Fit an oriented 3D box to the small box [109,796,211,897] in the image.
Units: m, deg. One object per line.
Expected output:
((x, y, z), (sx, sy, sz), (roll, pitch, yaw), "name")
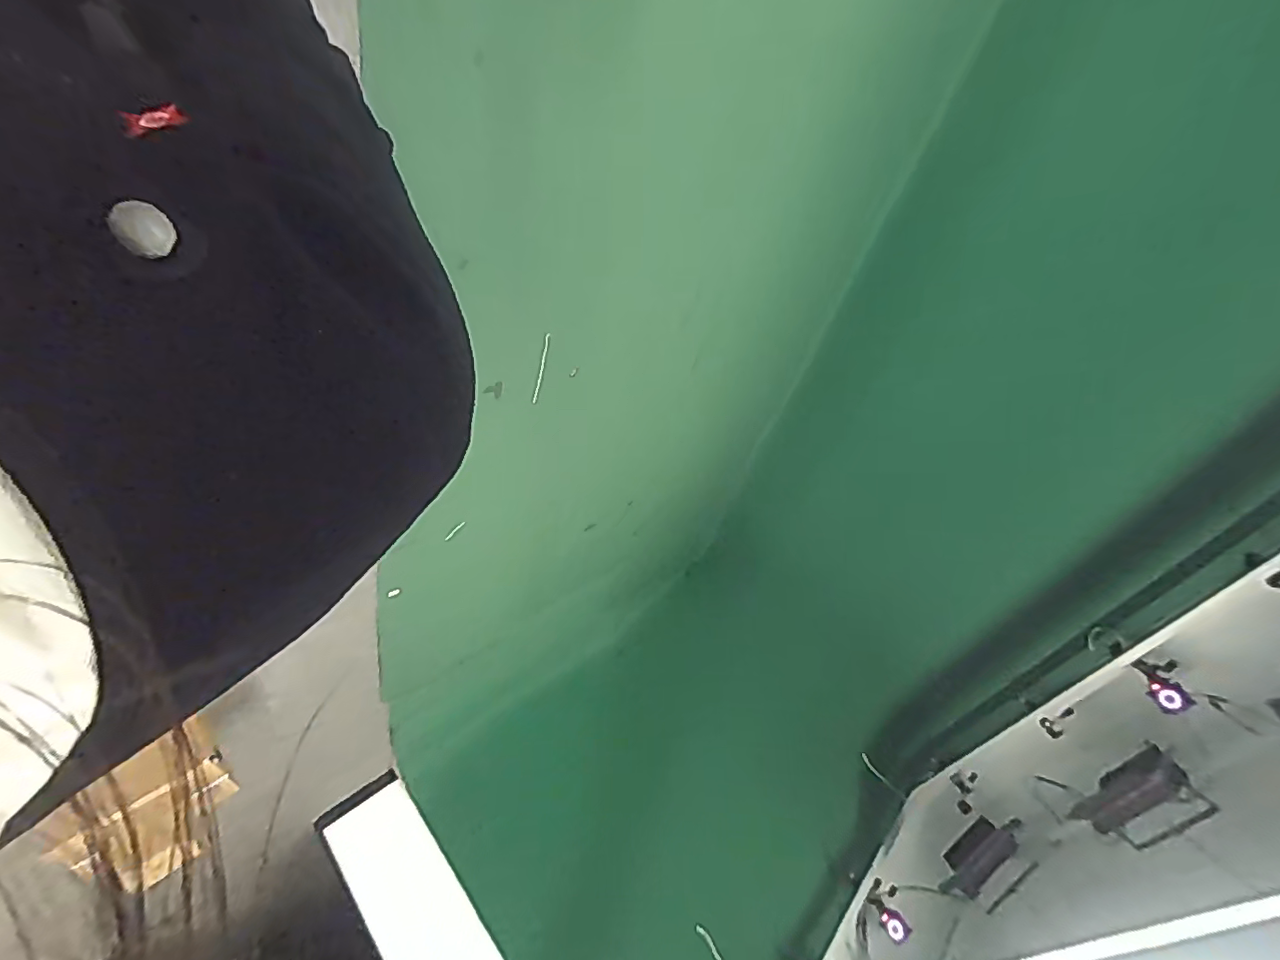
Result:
((-1.469, 1.118, 1.658), (0.179, 0.176, 0.168), (-26, 145, -37), "small box")
